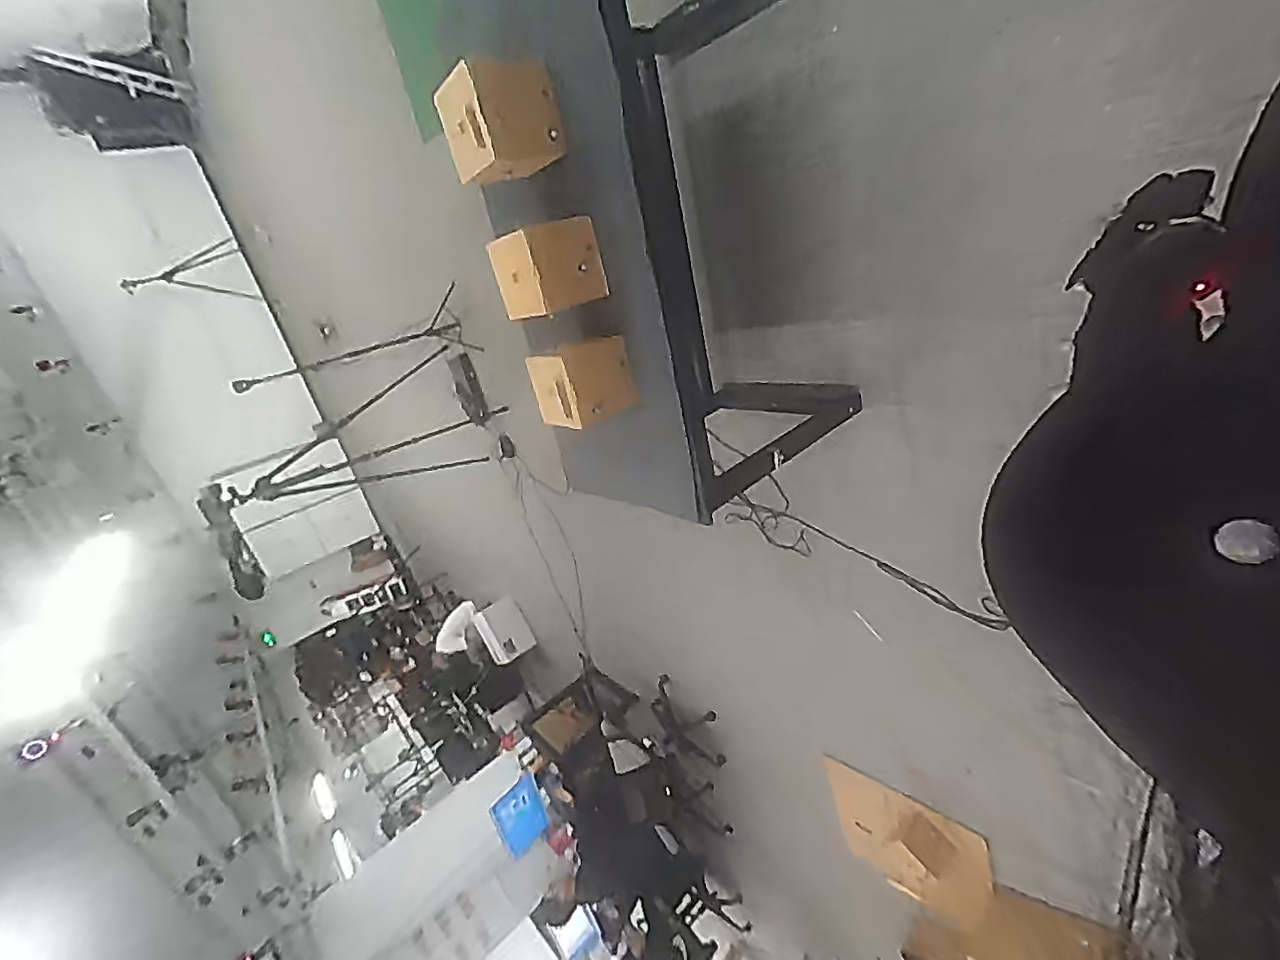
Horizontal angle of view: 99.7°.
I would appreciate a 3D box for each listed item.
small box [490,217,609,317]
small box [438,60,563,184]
[{"bbox_3d":[-0.195,-0.463,1.182,0.179,0.176,0.168,12,123,49],"label":"small box"},{"bbox_3d":[-0.272,-0.719,1.090,0.179,0.176,0.168,13,124,50],"label":"small box"}]
